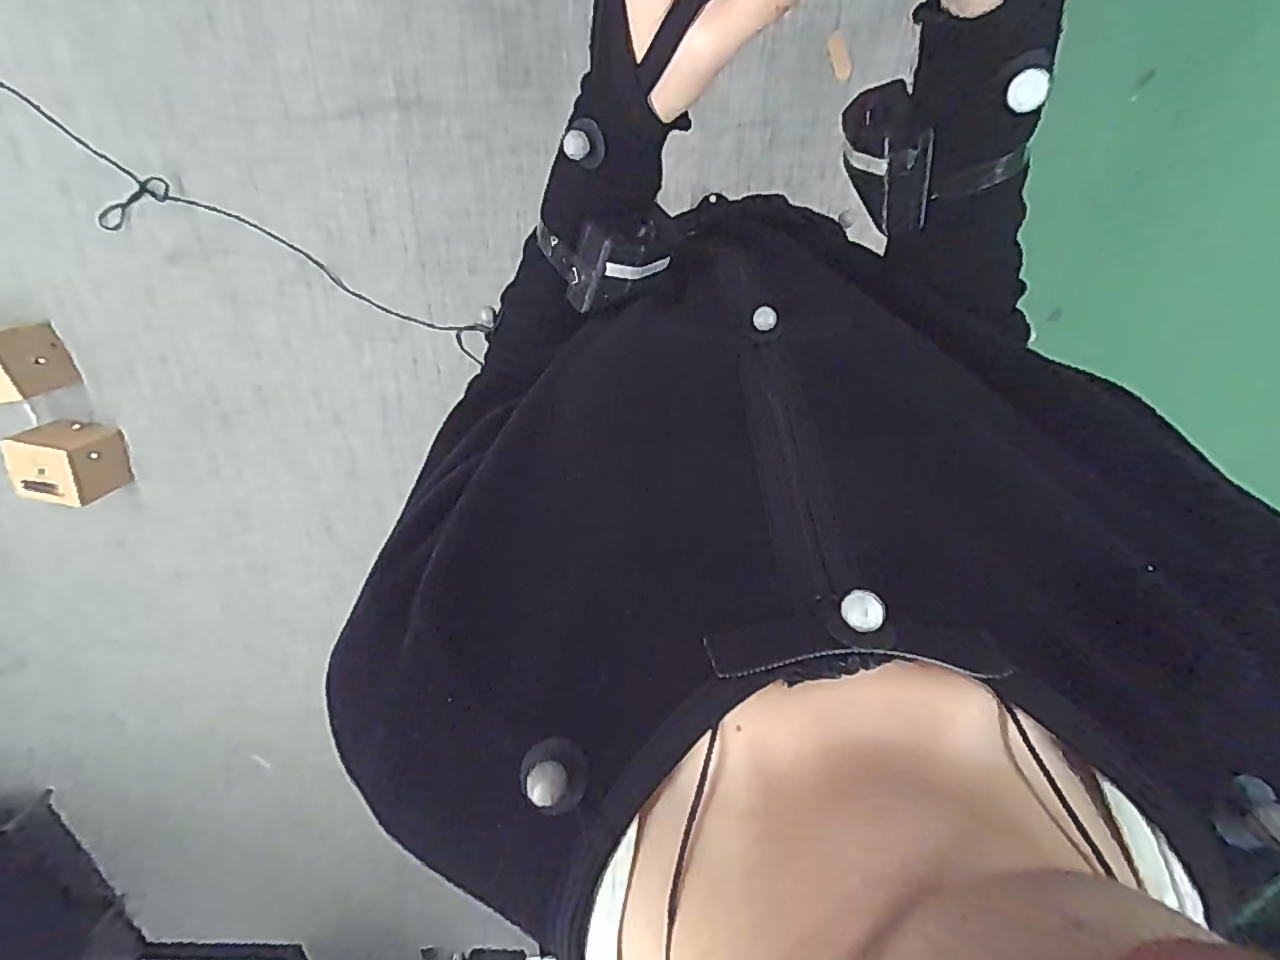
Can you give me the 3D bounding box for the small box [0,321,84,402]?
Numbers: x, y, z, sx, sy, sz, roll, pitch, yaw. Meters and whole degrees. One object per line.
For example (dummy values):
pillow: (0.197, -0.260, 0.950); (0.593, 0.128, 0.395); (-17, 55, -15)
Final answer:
small box: (-1.608, -0.305, 1.391); (0.179, 0.176, 0.168); (-5, 117, 4)
